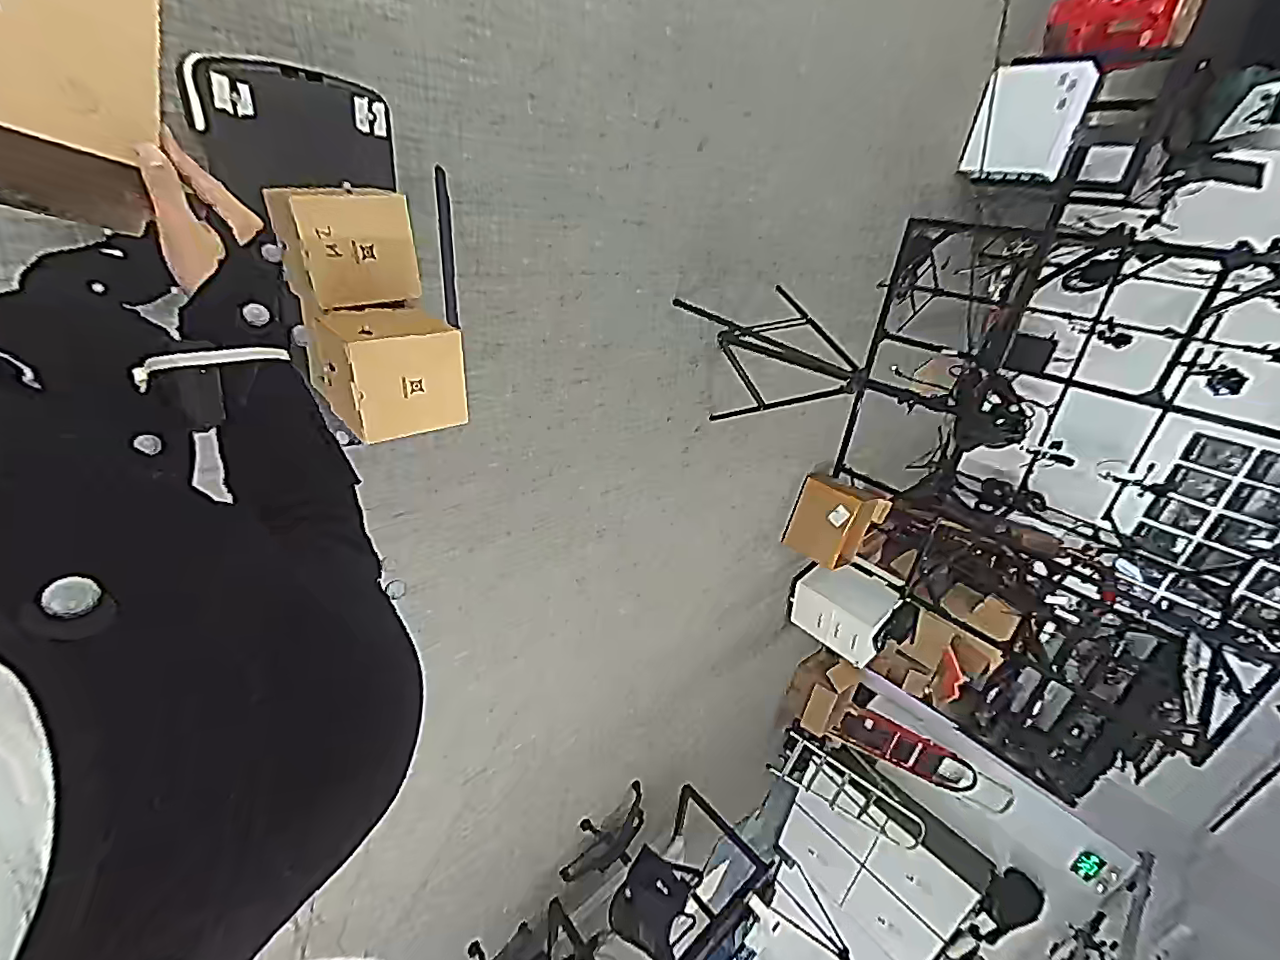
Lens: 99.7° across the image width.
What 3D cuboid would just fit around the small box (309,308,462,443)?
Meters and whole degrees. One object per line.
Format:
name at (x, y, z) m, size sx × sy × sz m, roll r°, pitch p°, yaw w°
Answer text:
small box at (-0.423, -0.185, 0.909) m, size 0.179 × 0.176 × 0.168 m, roll -20°, pitch 128°, yaw -37°

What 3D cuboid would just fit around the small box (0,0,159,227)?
small box at (-0.437, -0.299, 0.356) m, size 0.168 × 0.176 × 0.179 m, roll 0°, pitch 93°, yaw -47°

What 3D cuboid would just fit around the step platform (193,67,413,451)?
step platform at (-0.630, -0.398, 1.087) m, size 0.286 × 0.204 × 0.684 m, roll -19°, pitch 126°, yaw -40°
